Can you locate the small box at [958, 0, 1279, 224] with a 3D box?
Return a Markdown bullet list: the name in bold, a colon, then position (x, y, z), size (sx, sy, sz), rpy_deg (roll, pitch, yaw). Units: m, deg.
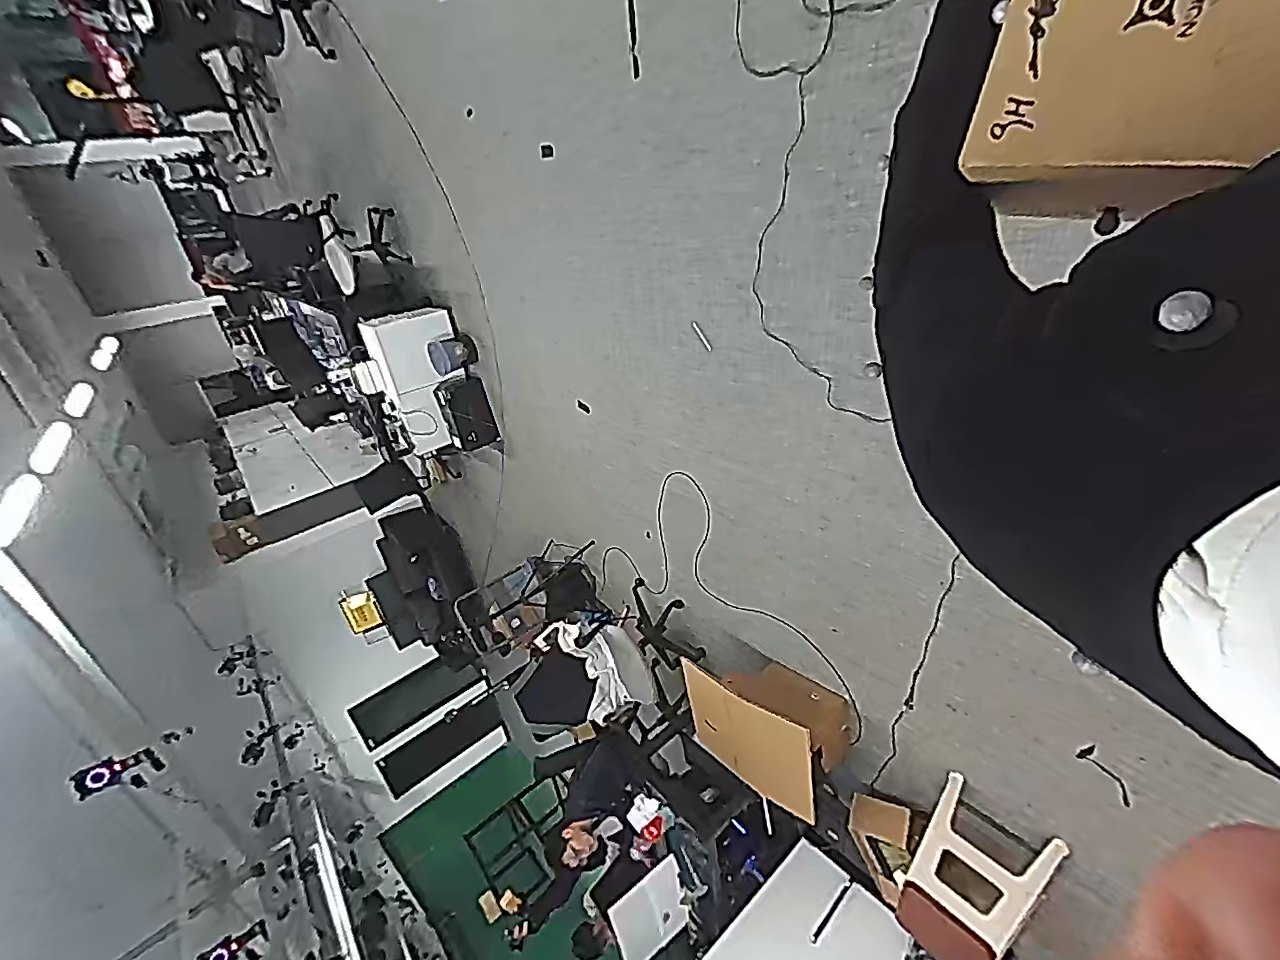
- **small box**: position (0.356, -0.282, 0.369), size (0.179, 0.176, 0.168), rpy_deg (25, 114, 35)
